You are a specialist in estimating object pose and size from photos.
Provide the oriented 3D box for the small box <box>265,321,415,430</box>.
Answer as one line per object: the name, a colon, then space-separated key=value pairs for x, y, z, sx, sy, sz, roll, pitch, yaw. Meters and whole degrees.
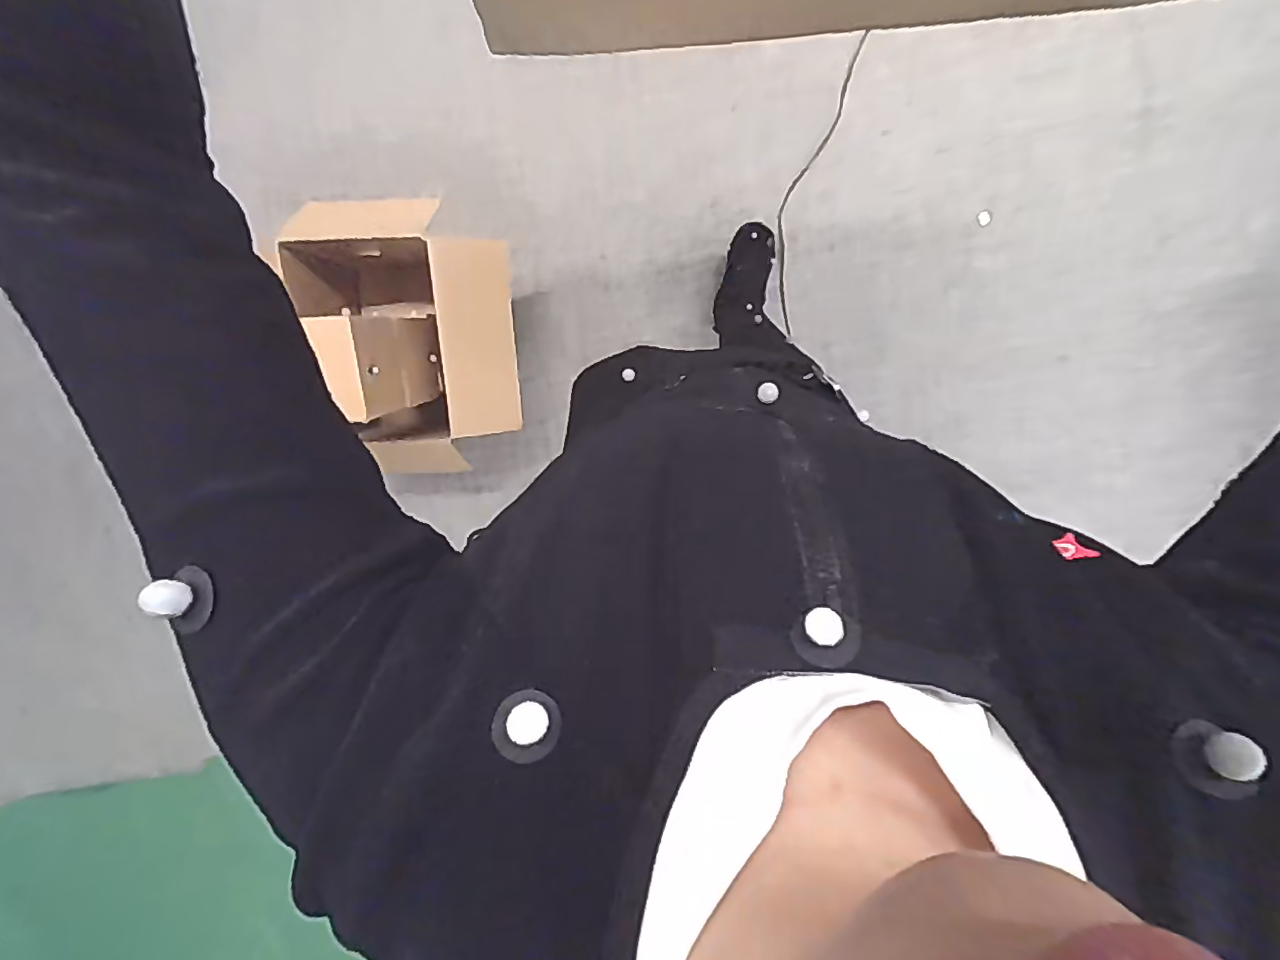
small box: x=-0.537 y=-0.198 z=0.997 sx=0.168 sy=0.176 sz=0.179 roll=-4 pitch=106 yaw=1
